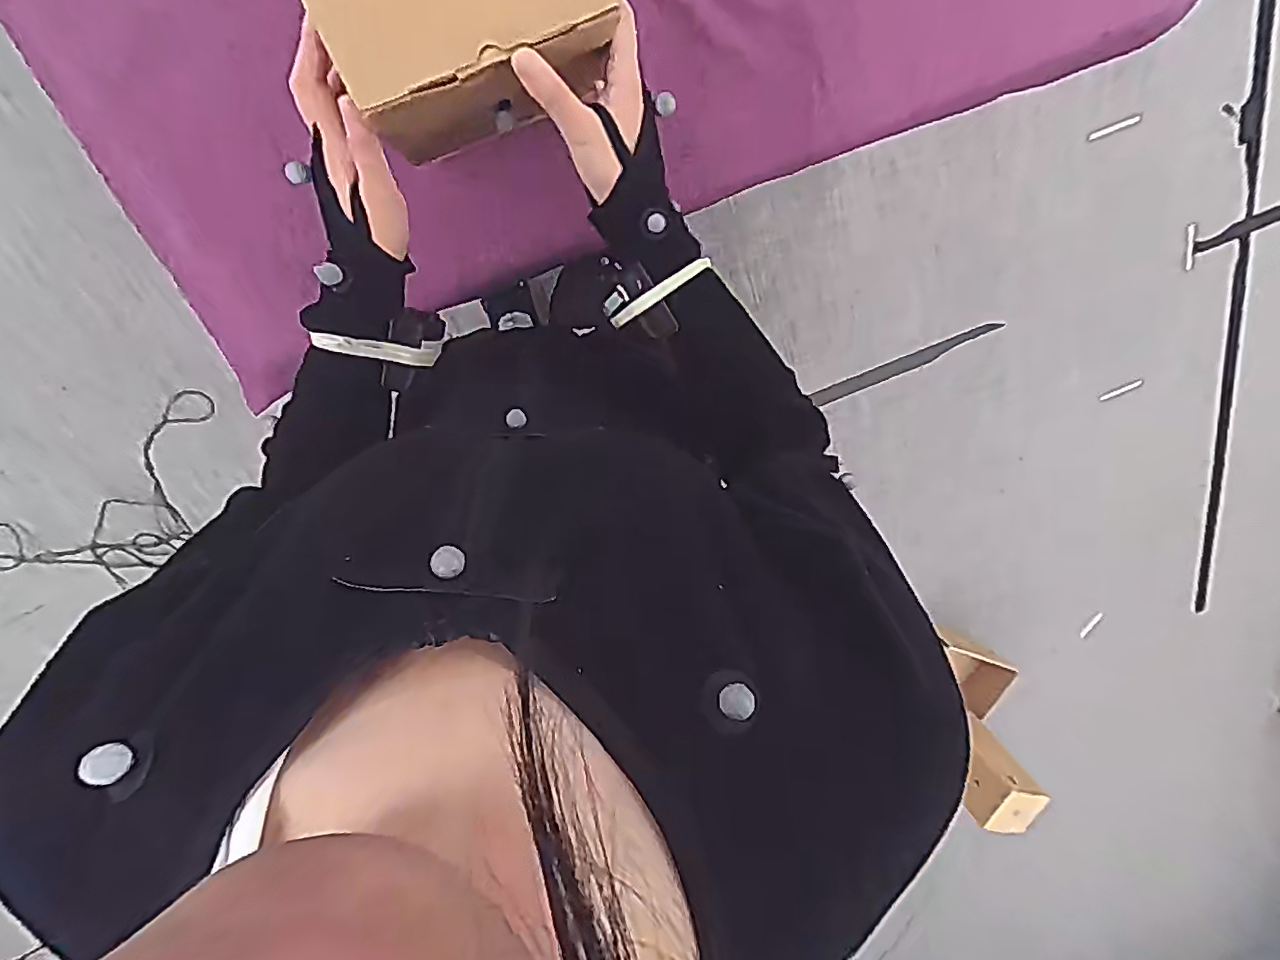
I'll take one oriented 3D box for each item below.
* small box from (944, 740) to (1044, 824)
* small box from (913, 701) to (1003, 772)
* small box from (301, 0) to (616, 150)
[{"bbox_3d":[1.135,0.970,1.748,0.179,0.176,0.168,16,110,-18],"label":"small box"},{"bbox_3d":[1.107,0.902,1.896,0.179,0.176,0.168,16,110,-19],"label":"small box"},{"bbox_3d":[-0.129,-0.340,0.352,0.168,0.176,0.179,-23,115,-2],"label":"small box"}]
